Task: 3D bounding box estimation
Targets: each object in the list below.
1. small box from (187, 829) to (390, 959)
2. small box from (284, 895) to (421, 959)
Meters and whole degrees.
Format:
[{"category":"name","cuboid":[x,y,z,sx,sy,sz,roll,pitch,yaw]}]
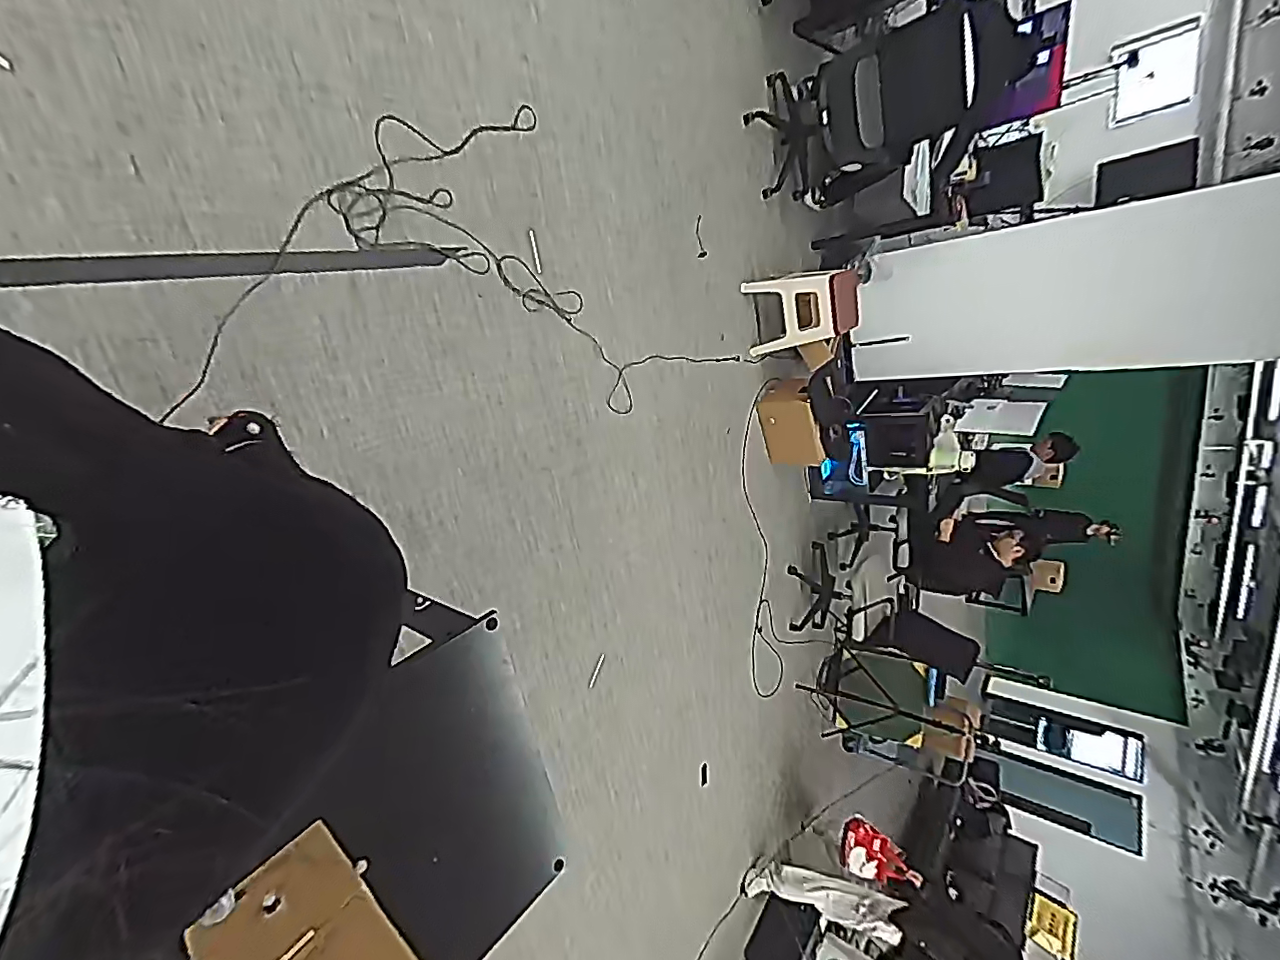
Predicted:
[{"category":"small box","cuboid":[-0.425,0.586,0.682,0.168,0.176,0.179,-34,118,-42]},{"category":"small box","cuboid":[-0.301,0.600,0.573,0.168,0.176,0.179,-35,119,-41]}]
